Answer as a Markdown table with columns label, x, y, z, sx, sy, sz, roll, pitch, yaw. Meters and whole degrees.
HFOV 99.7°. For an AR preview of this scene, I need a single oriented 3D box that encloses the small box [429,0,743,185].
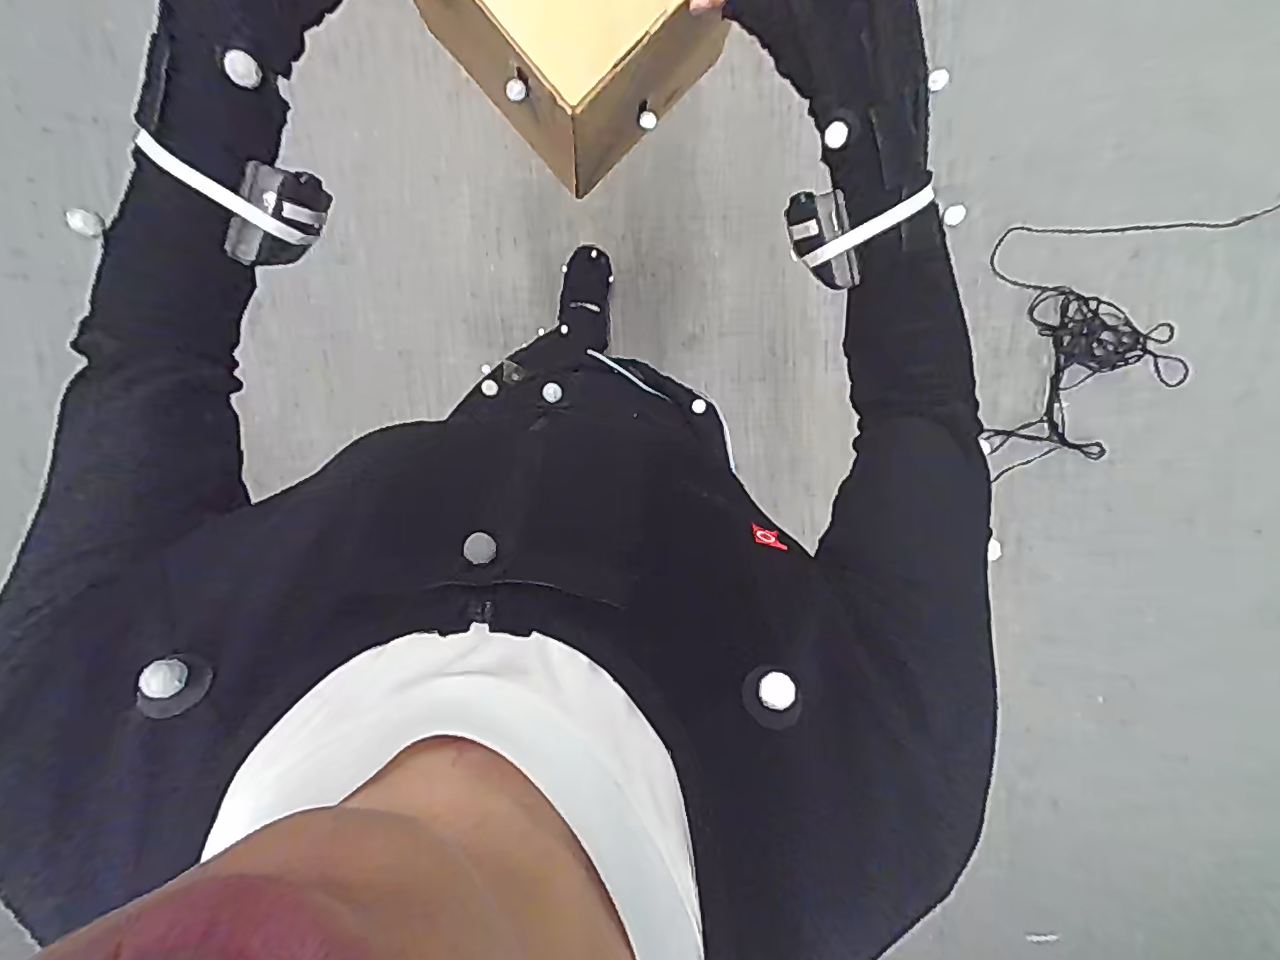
| label | x | y | z | sx | sy | sz | roll | pitch | yaw |
| --- | --- | --- | --- | --- | --- | --- | --- | --- | --- |
| small box | -0.041 | -0.345 | 0.367 | 0.168 | 0.176 | 0.179 | -43 | 103 | 5 |
